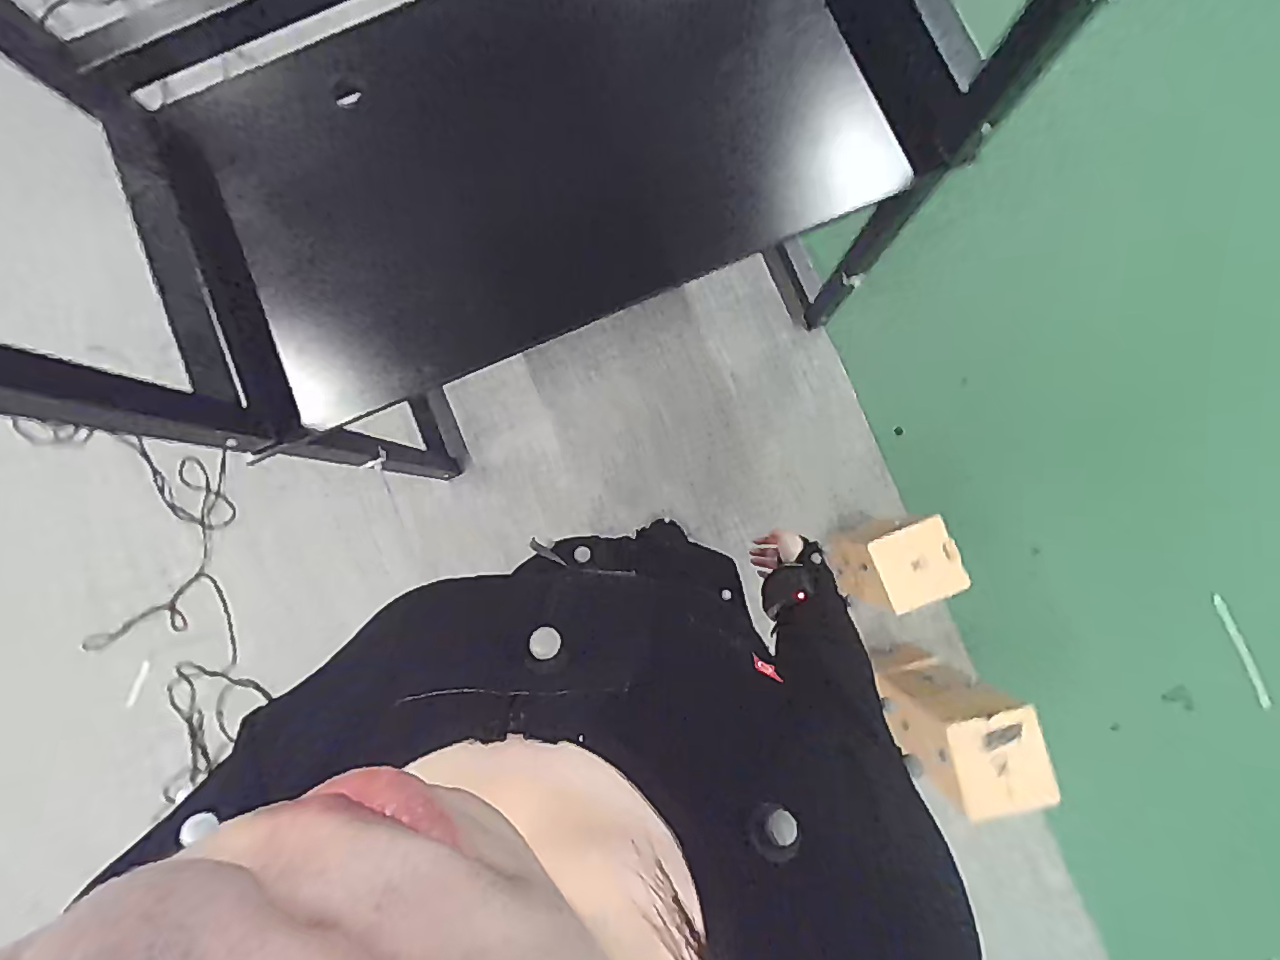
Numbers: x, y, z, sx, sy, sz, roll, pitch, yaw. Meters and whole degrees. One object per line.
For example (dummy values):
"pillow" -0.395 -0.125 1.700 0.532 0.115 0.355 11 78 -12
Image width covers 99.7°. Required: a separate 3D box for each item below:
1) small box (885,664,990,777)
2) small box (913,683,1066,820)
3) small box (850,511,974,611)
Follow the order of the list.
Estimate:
"small box" 0.667 0.521 1.200 0.168 0.176 0.179 -11 86 3
"small box" 0.655 0.505 1.037 0.168 0.176 0.179 -14 86 3
"small box" 0.601 0.180 1.227 0.179 0.176 0.168 -23 85 0
